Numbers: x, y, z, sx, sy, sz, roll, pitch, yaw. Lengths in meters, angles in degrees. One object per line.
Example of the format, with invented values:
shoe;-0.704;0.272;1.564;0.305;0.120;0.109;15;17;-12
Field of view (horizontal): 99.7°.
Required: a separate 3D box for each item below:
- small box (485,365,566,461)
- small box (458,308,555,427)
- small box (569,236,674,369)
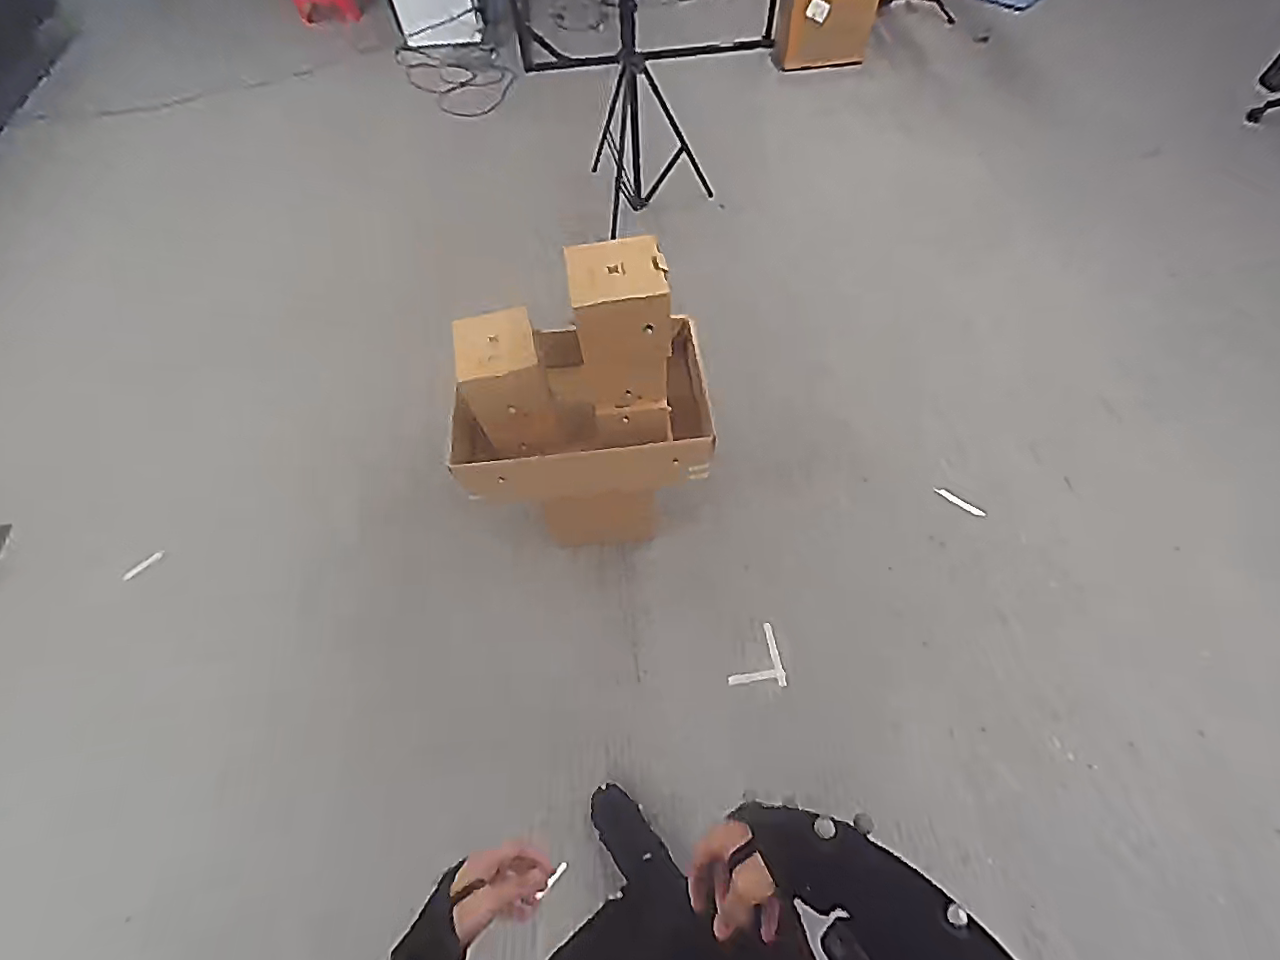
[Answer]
small box;-0.289;-0.174;1.346;0.168;0.176;0.179;-14;61;-4
small box;-0.293;-0.245;1.198;0.168;0.176;0.179;-13;62;-4
small box;-0.034;-0.338;1.046;0.179;0.176;0.168;-9;60;-2
